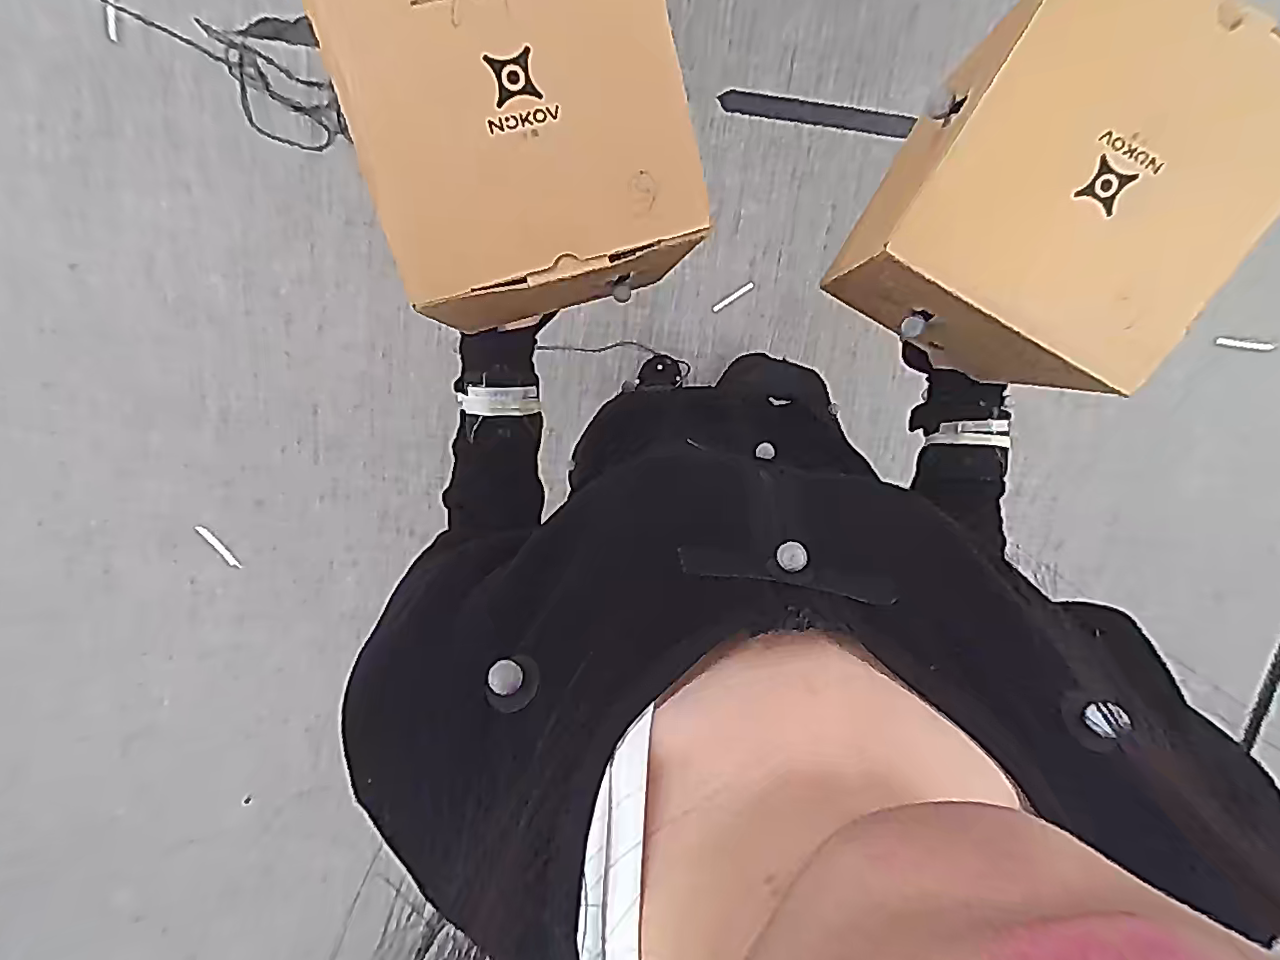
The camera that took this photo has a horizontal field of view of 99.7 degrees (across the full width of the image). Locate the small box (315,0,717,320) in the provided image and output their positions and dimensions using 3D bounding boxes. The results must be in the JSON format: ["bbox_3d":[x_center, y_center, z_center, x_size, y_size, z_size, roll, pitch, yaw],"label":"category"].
[{"bbox_3d":[-0.069,-0.208,0.341,0.168,0.176,0.179,-18,102,-6],"label":"small box"}]

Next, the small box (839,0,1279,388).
[{"bbox_3d":[0.257,-0.179,0.363,0.168,0.176,0.179,30,103,-1],"label":"small box"}]
